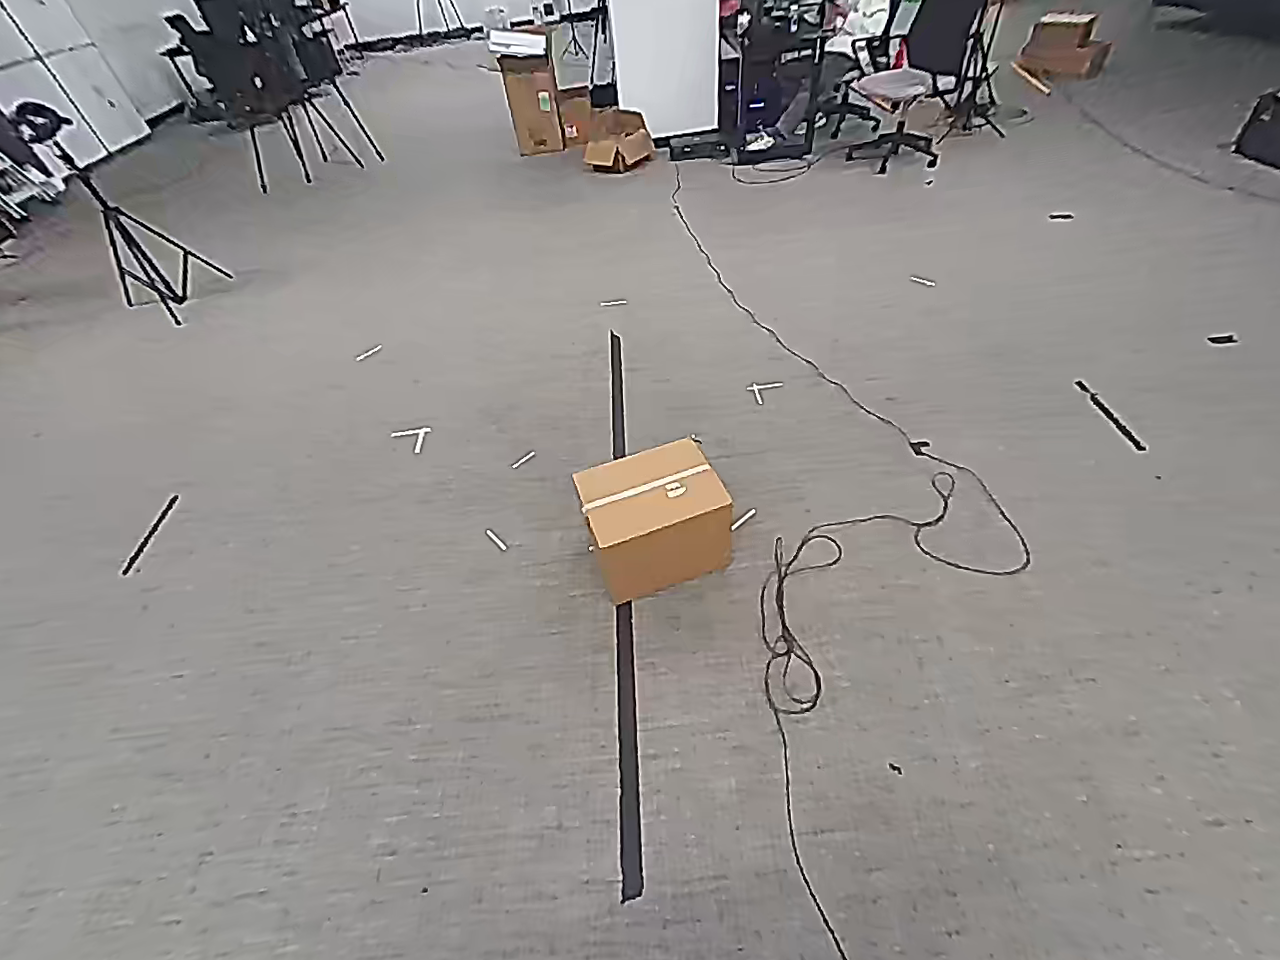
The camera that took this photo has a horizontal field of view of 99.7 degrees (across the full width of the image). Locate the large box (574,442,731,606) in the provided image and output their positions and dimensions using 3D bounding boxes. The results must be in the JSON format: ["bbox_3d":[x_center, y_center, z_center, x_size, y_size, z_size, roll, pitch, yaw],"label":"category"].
[{"bbox_3d":[0.040,0.137,1.720,0.408,0.320,0.320,-18,47,-10],"label":"large box"}]
